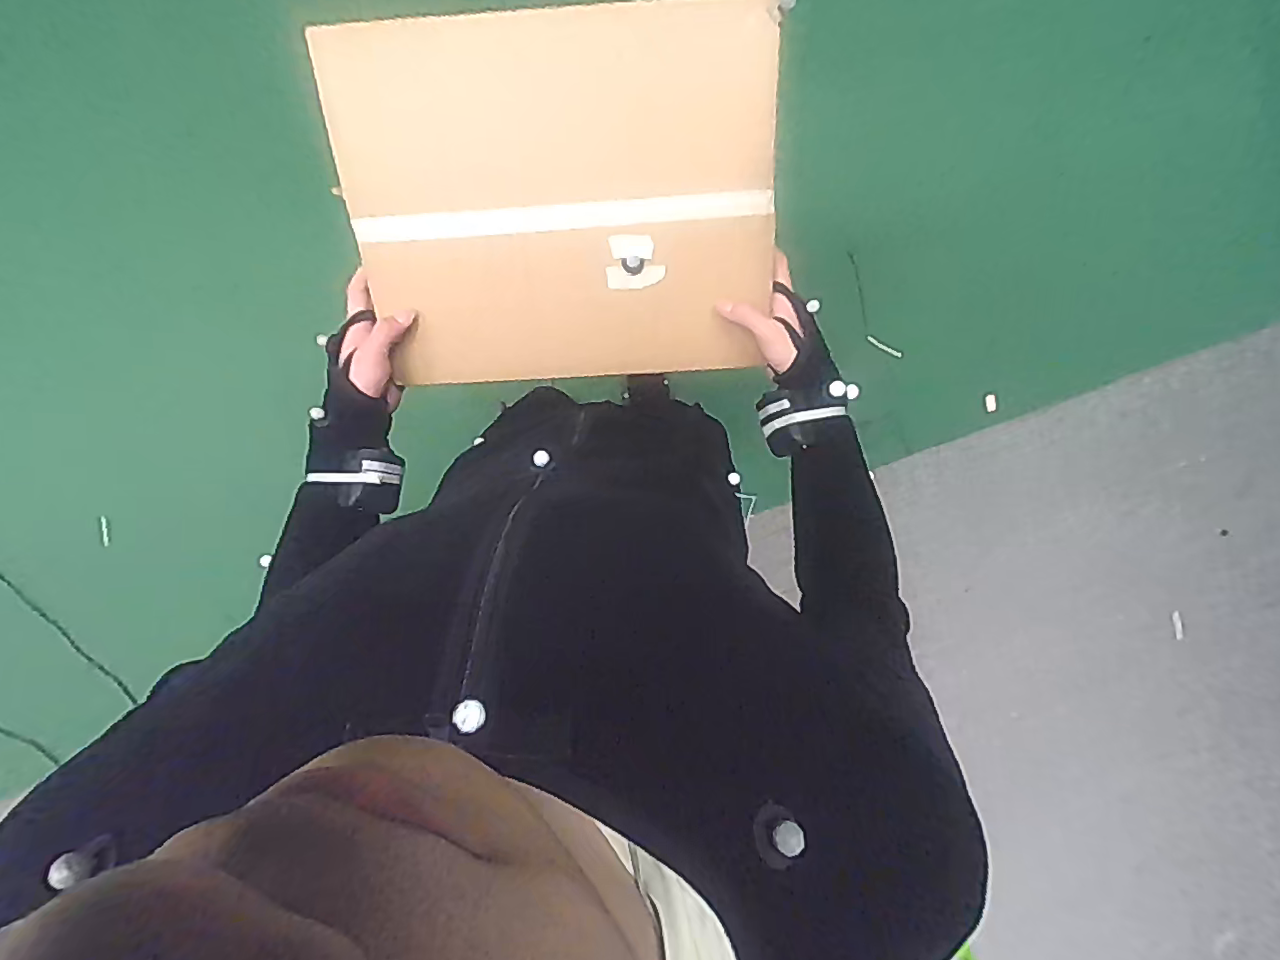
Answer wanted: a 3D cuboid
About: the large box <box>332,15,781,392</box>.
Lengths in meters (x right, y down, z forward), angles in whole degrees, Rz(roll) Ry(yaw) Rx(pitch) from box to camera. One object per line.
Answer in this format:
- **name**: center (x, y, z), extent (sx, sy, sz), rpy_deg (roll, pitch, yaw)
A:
- **large box**: center (-0.069, -0.308, 0.666), extent (0.408, 0.320, 0.320), rpy_deg (-3, 115, 1)
